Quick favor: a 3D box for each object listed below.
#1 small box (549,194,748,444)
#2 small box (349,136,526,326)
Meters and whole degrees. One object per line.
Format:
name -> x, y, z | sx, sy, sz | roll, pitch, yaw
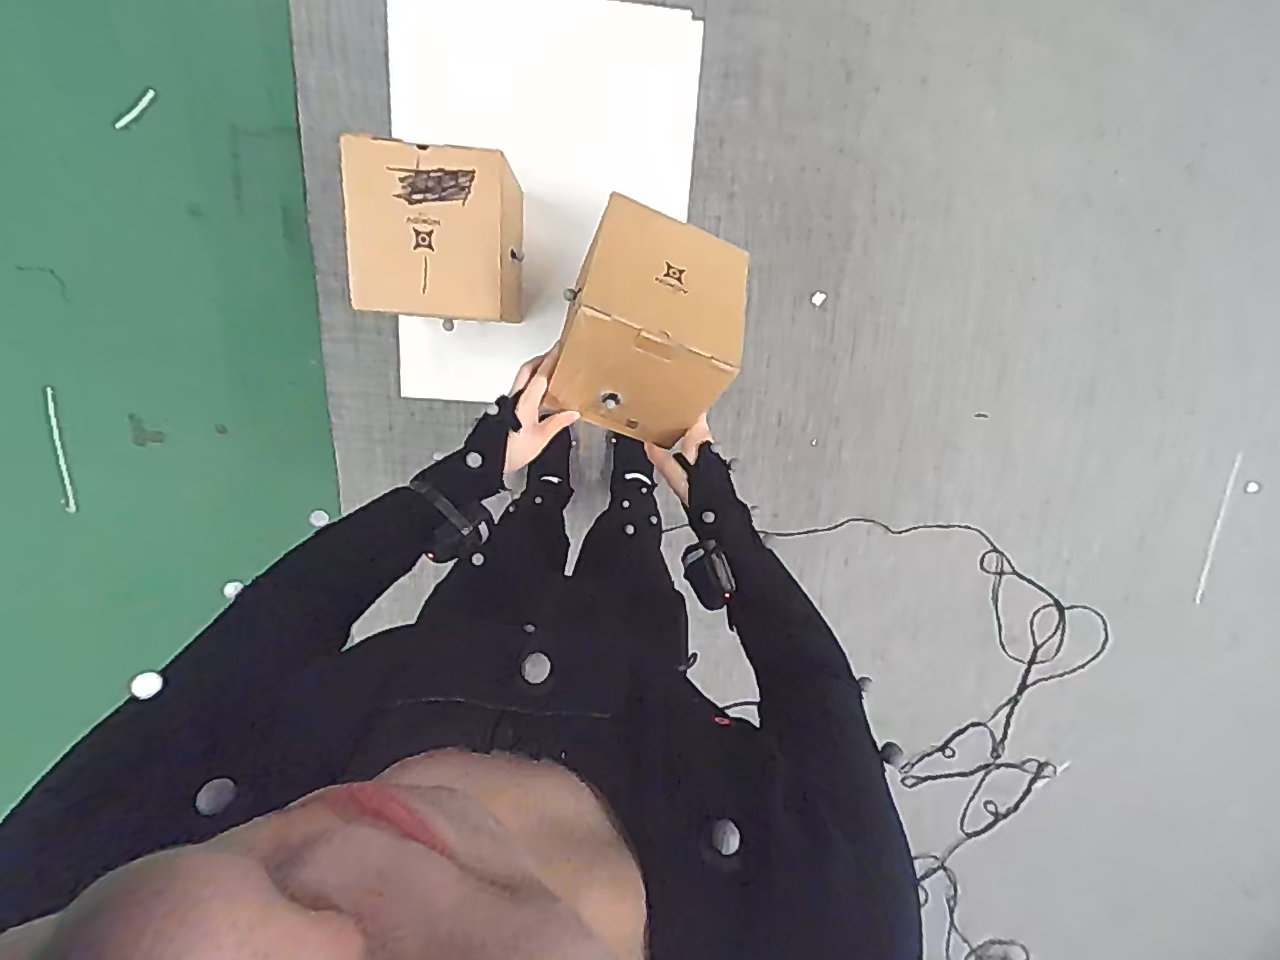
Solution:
small box -> 0.005, -0.171, 0.612 | 0.168, 0.176, 0.179 | 18, 60, -14
small box -> -0.235, -0.288, 0.665 | 0.168, 0.176, 0.179 | 4, 105, -5
